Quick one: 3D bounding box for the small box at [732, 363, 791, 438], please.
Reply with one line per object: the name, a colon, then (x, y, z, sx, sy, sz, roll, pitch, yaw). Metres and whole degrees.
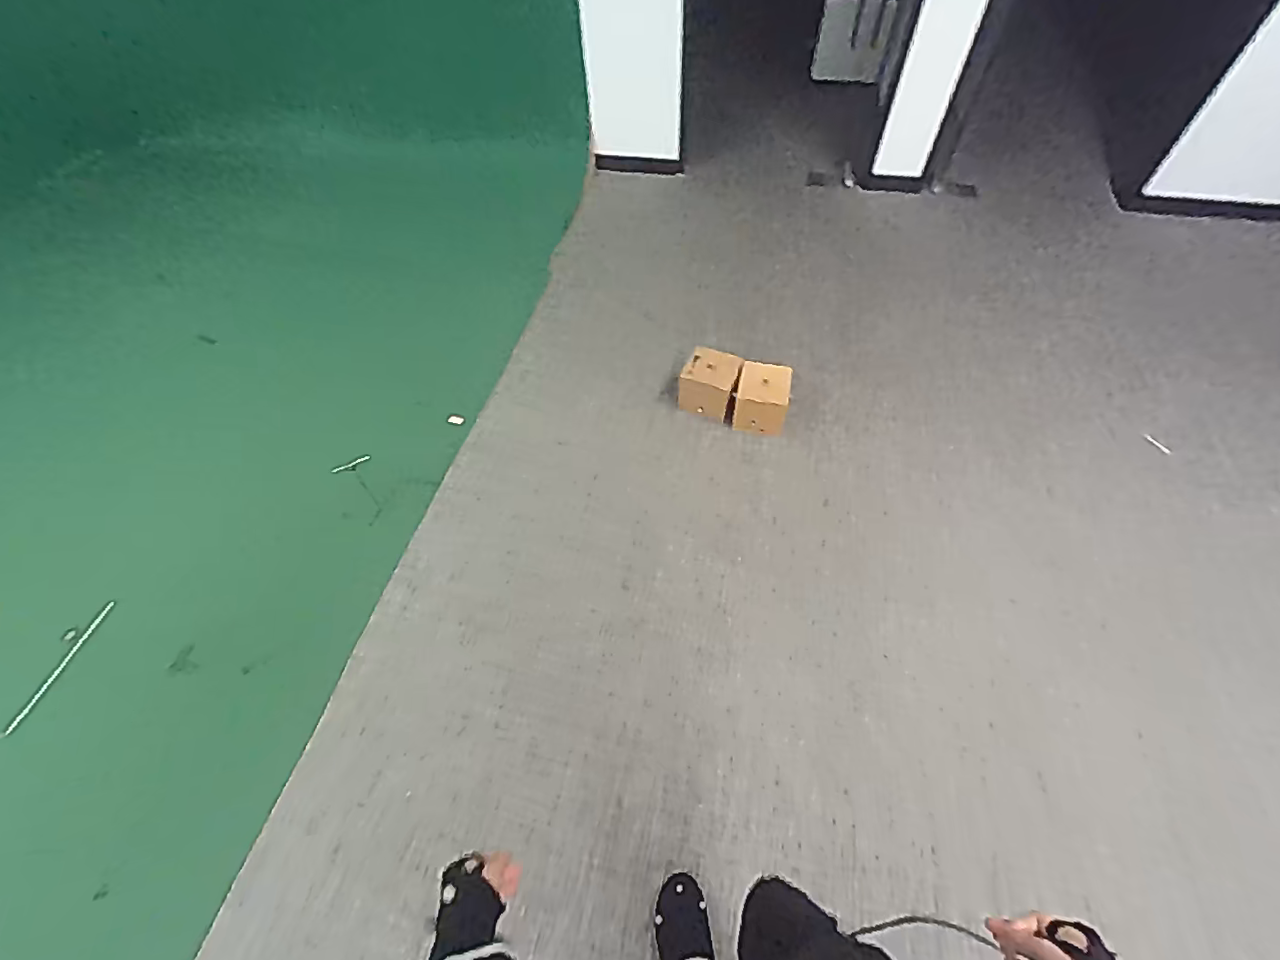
small box: (0.413, -0.272, 1.857, 0.168, 0.176, 0.179, 10, 58, 9)
